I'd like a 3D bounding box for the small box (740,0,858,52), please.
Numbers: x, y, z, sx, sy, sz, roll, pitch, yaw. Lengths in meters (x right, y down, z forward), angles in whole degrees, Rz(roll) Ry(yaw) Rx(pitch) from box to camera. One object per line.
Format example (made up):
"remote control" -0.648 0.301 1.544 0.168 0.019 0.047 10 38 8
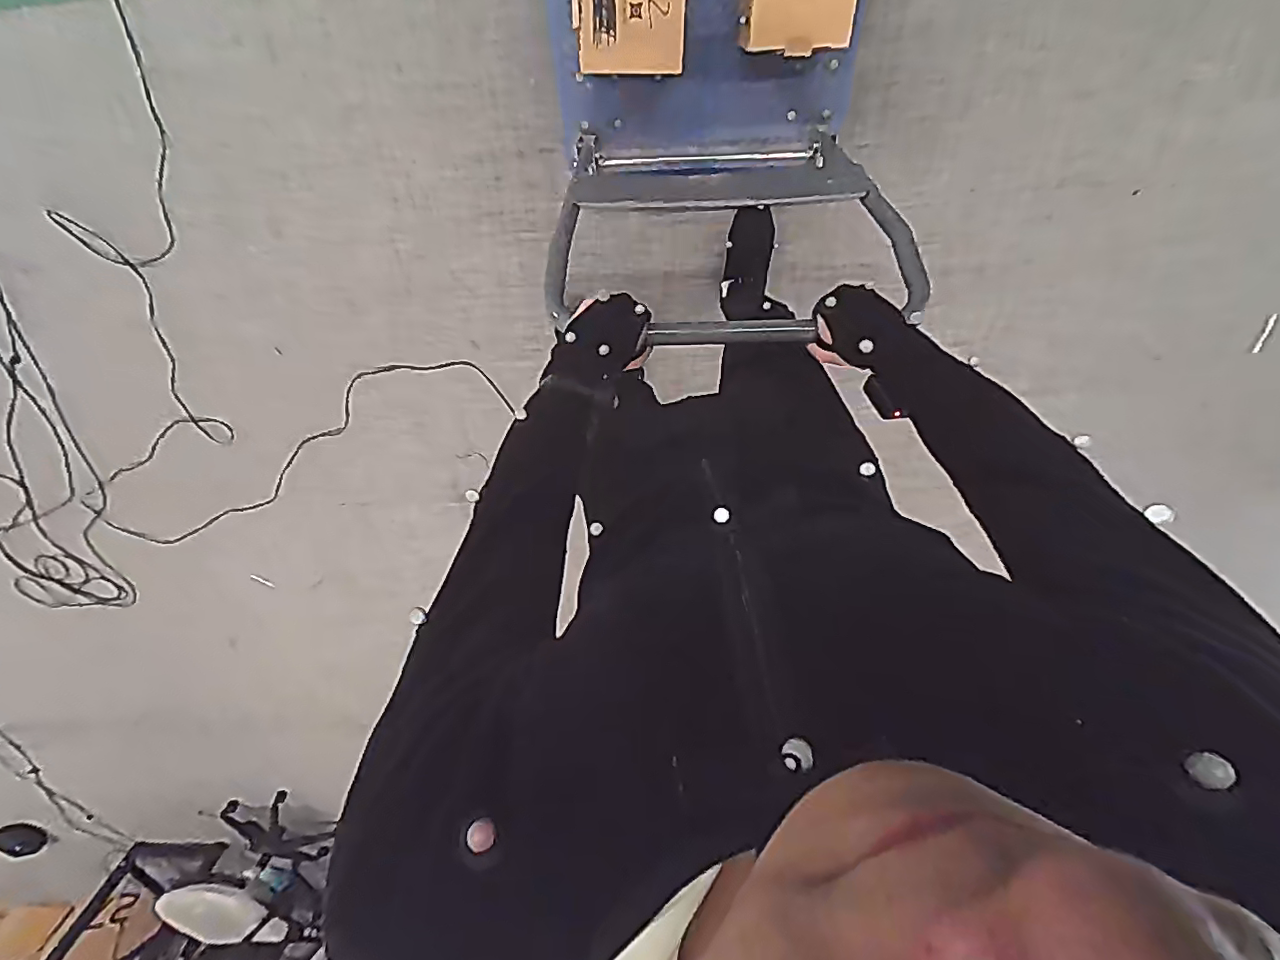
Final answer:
"small box" 0.263 -0.828 0.897 0.168 0.176 0.179 -1 132 2
